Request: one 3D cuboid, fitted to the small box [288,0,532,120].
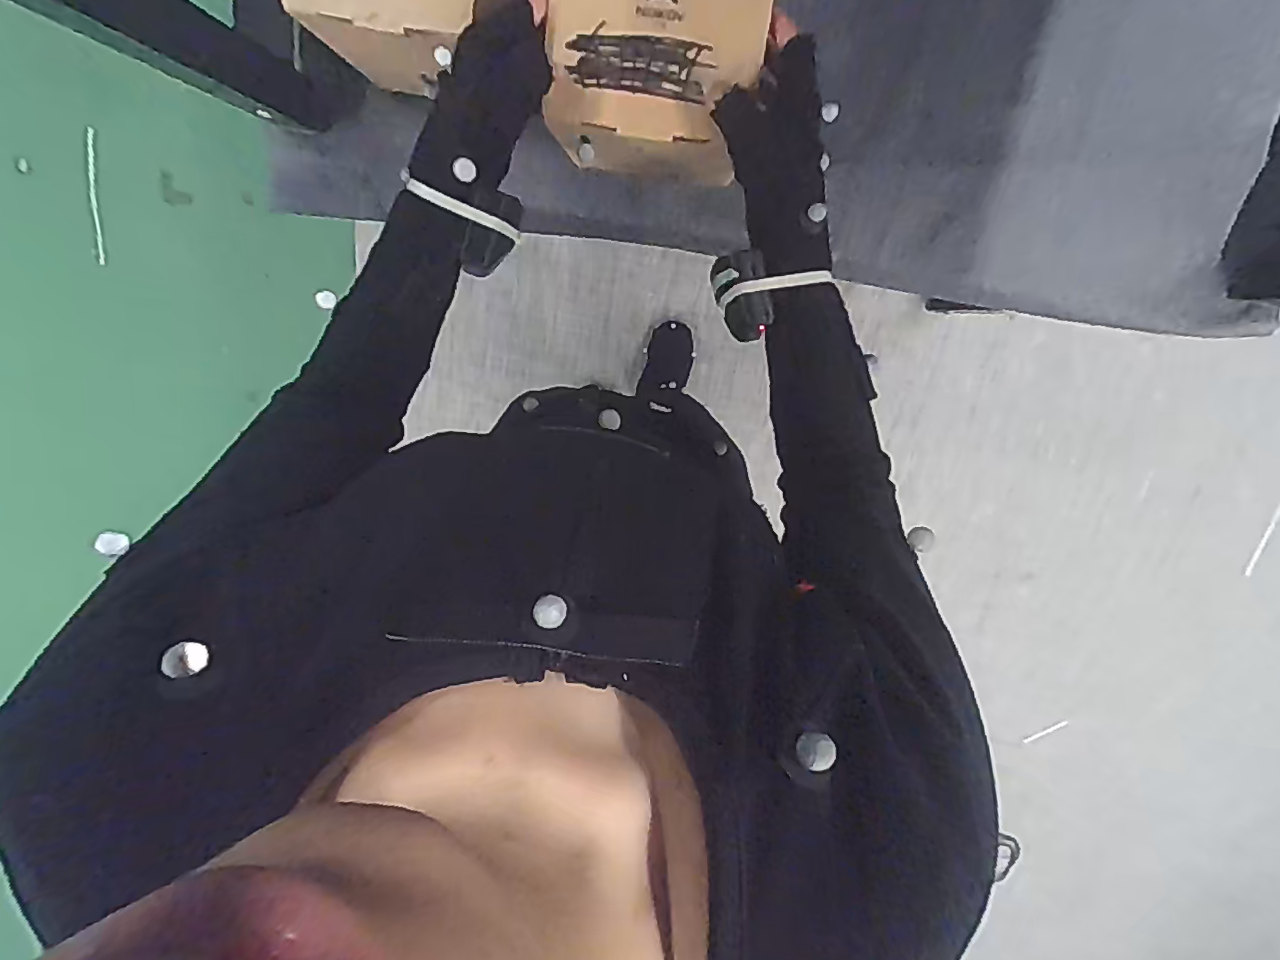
[{"bbox_3d":[-0.204,-0.483,0.517,0.168,0.176,0.179,9,107,0],"label":"small box"}]
